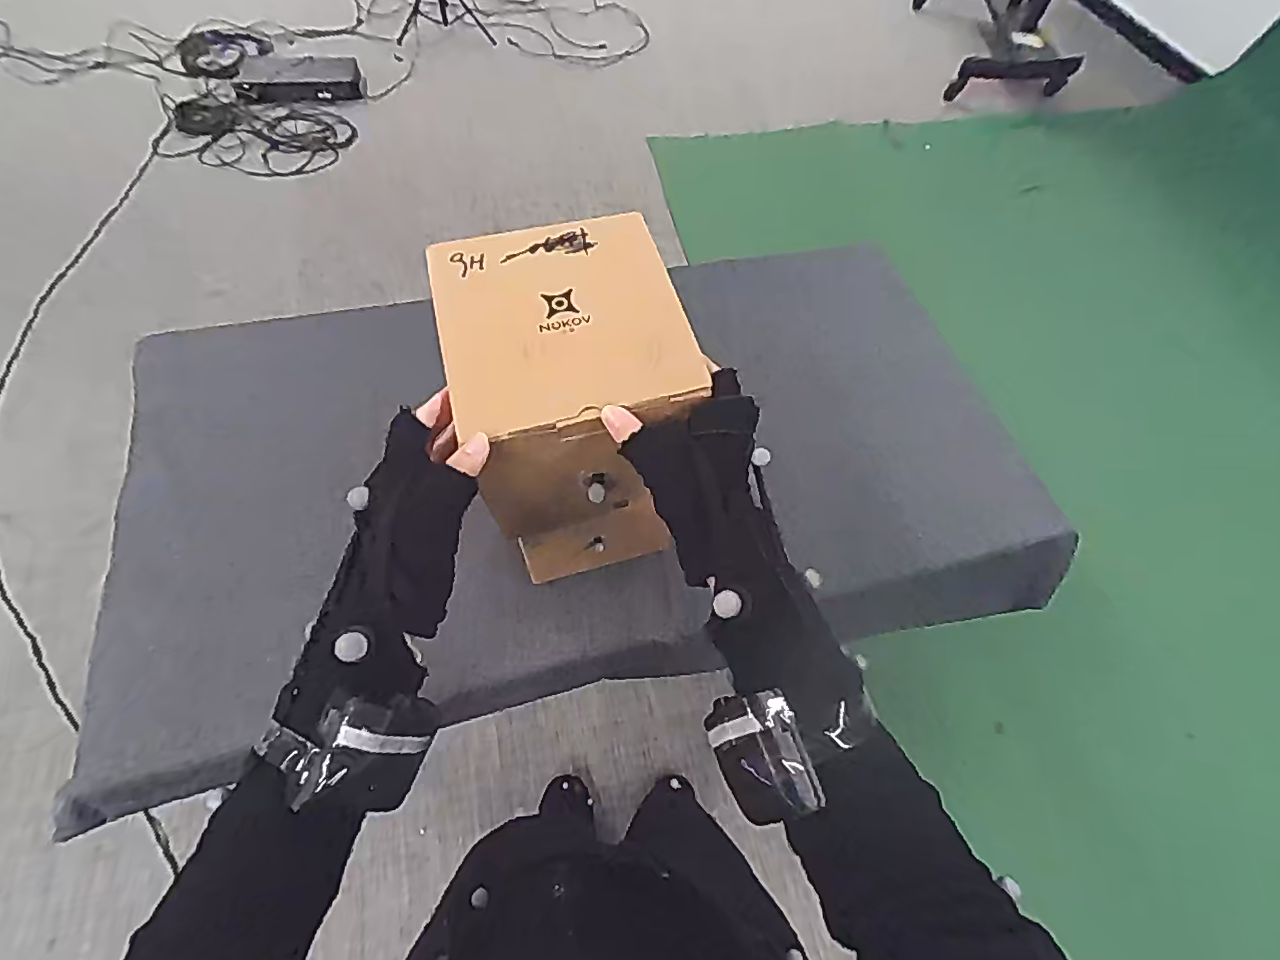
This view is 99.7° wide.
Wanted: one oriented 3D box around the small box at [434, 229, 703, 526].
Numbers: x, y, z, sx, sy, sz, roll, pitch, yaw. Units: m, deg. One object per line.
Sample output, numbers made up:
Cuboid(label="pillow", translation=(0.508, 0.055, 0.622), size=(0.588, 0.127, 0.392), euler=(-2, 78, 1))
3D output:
Cuboid(label="small box", translation=(-0.059, -0.073, 0.459), size=(0.168, 0.176, 0.179), euler=(-14, 66, -10))

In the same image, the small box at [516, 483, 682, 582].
Cuboid(label="small box", translation=(-0.066, 0.005, 0.656), size=(0.179, 0.176, 0.168), euler=(-14, 63, -11))
